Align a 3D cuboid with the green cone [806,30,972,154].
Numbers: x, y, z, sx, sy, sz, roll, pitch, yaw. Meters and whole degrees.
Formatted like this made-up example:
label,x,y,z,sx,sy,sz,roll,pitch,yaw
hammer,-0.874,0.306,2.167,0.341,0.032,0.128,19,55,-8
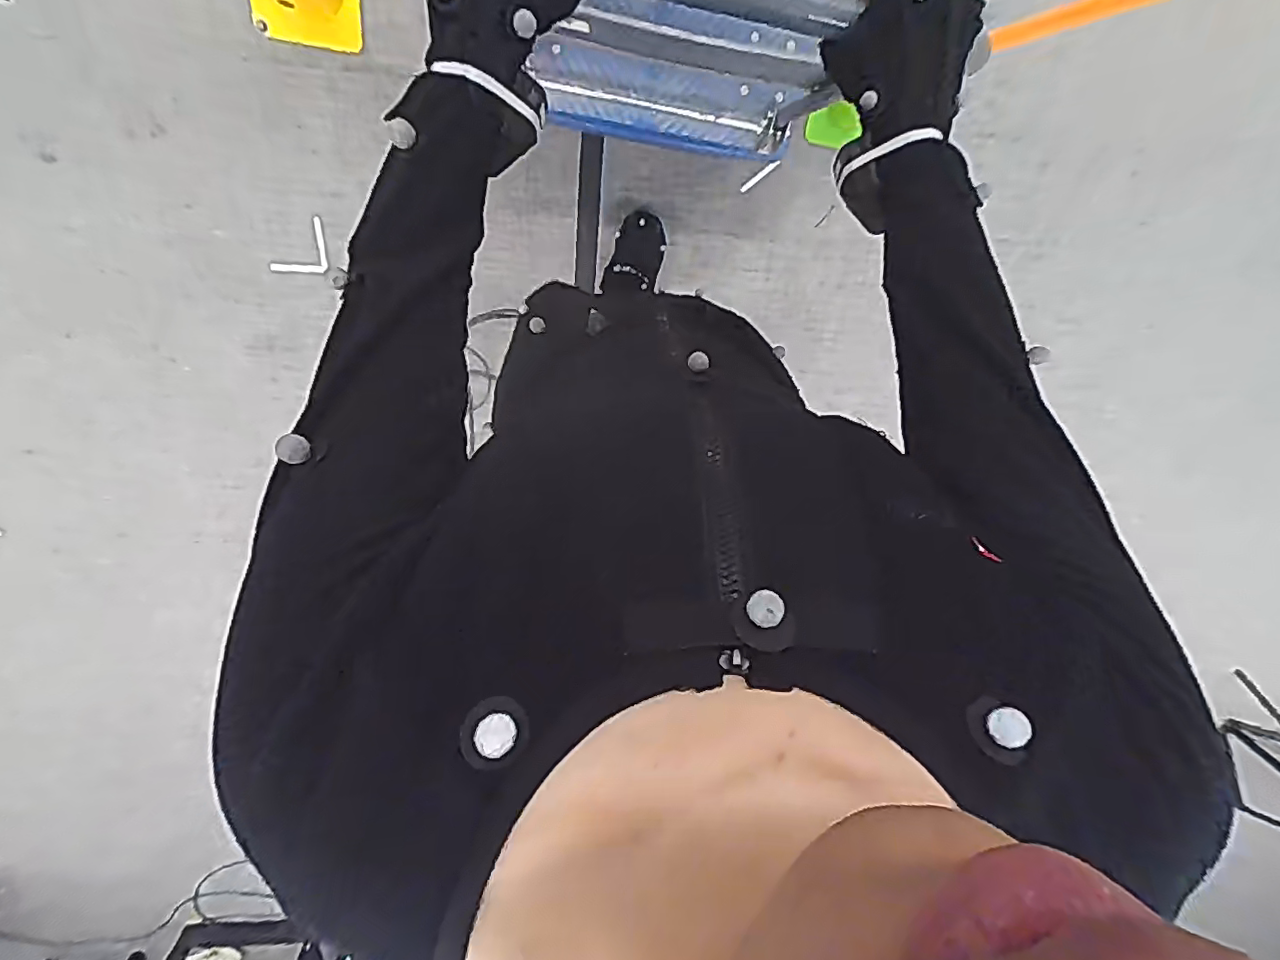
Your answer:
label,x,y,z,sx,sy,sz,roll,pitch,yaw
green cone,0.494,-0.765,1.029,0.202,0.368,0.200,5,116,-9
